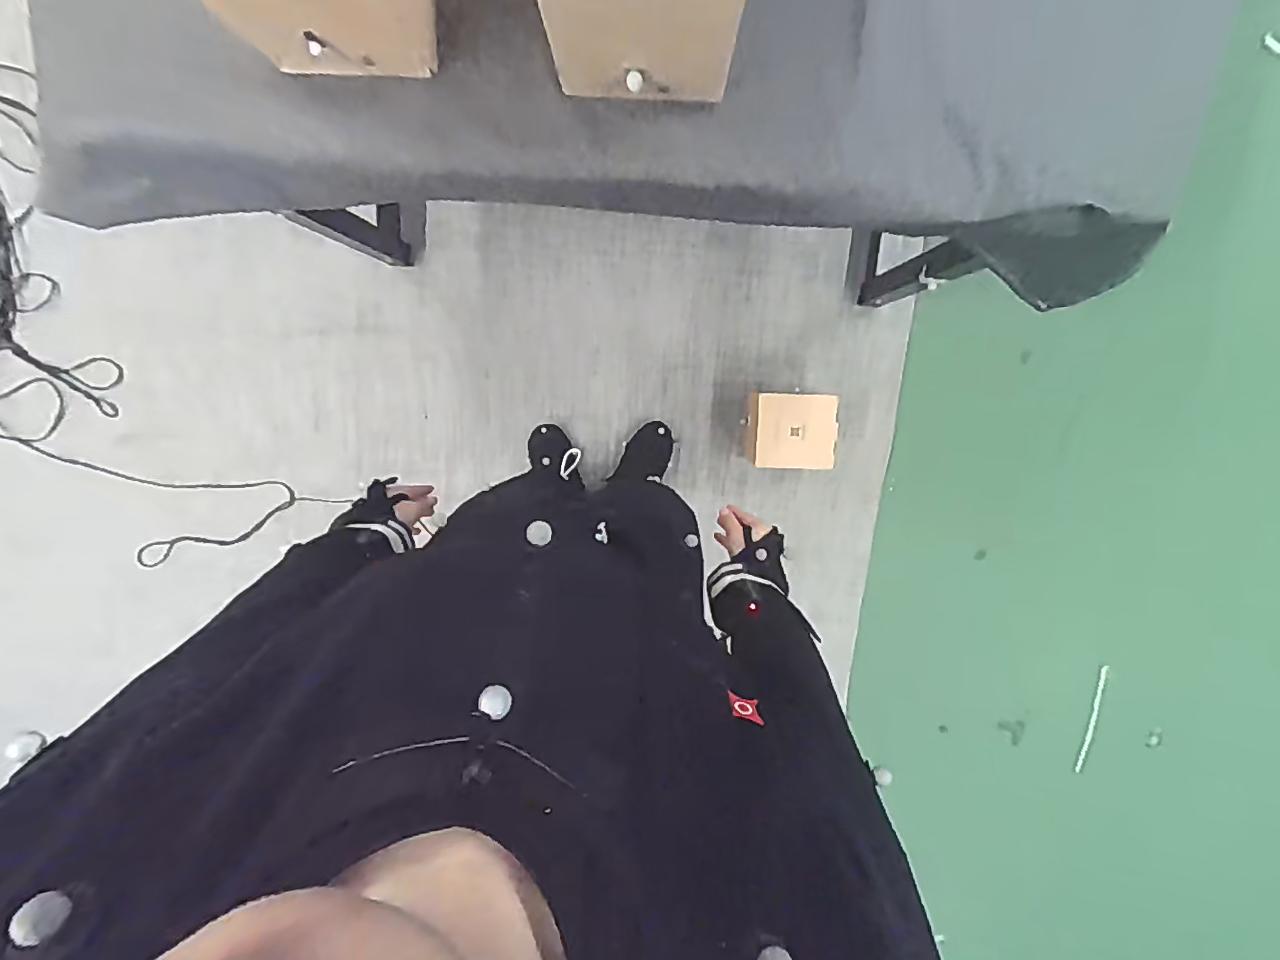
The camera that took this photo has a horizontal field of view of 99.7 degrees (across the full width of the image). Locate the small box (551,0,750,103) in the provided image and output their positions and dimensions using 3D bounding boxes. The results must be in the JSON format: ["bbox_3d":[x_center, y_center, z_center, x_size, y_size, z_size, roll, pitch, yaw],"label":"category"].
[{"bbox_3d":[0.010,-0.468,0.466,0.168,0.176,0.179,4,99,1],"label":"small box"}]

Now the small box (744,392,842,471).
[{"bbox_3d":[0.347,-0.117,1.256,0.179,0.176,0.168,2,99,2],"label":"small box"}]

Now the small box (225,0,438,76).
[{"bbox_3d":[-0.288,-0.498,0.471,0.168,0.176,0.179,2,100,1],"label":"small box"}]
